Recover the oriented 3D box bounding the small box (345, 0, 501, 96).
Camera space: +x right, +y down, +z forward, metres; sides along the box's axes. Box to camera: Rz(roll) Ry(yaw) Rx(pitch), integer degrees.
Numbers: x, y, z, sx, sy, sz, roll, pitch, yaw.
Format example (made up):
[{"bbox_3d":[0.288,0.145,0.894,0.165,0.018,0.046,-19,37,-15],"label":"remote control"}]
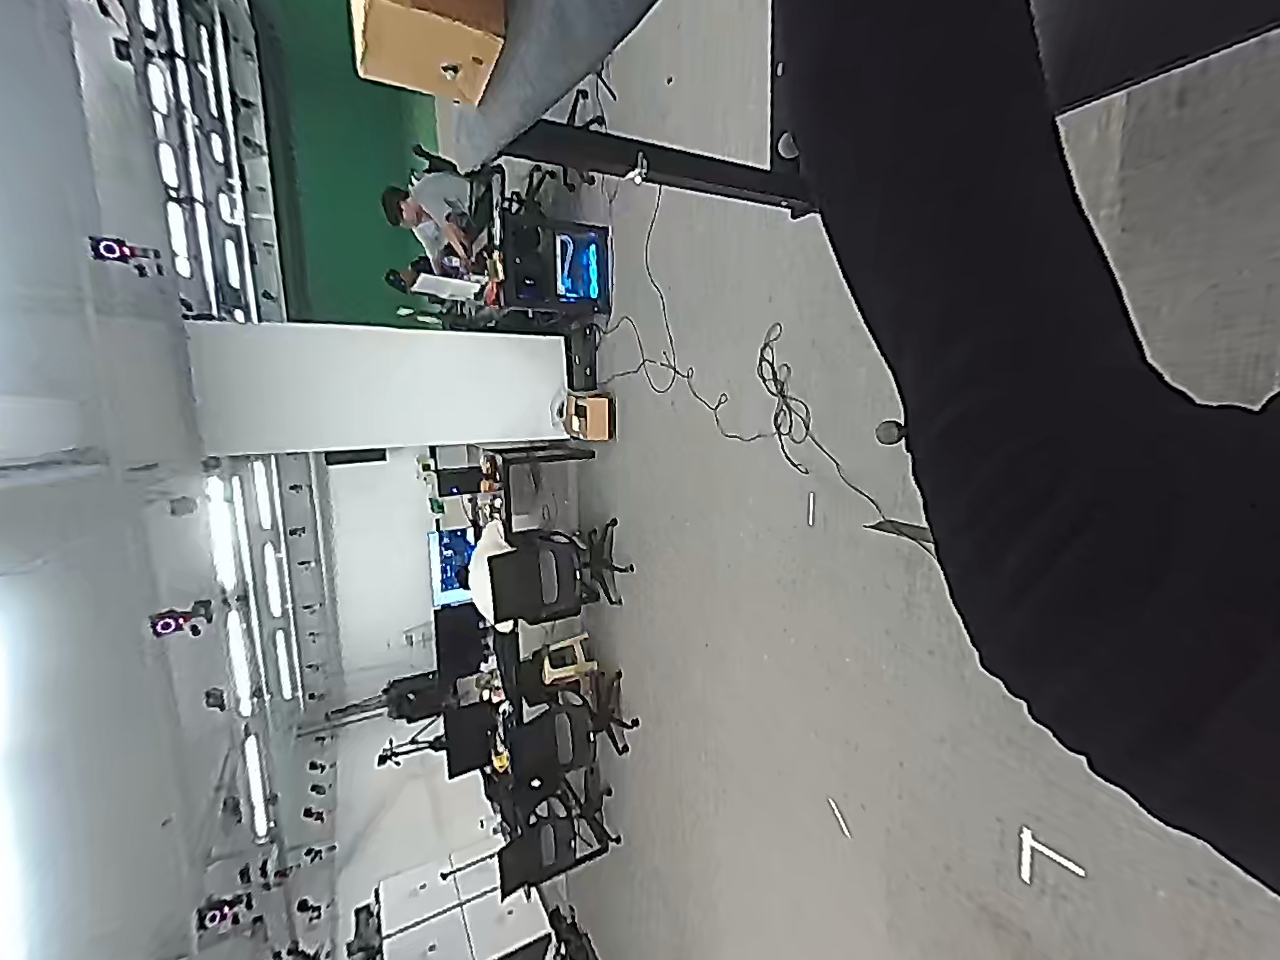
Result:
[{"bbox_3d":[-0.290,-0.655,0.713,0.168,0.176,0.179,7,101,61],"label":"small box"}]
